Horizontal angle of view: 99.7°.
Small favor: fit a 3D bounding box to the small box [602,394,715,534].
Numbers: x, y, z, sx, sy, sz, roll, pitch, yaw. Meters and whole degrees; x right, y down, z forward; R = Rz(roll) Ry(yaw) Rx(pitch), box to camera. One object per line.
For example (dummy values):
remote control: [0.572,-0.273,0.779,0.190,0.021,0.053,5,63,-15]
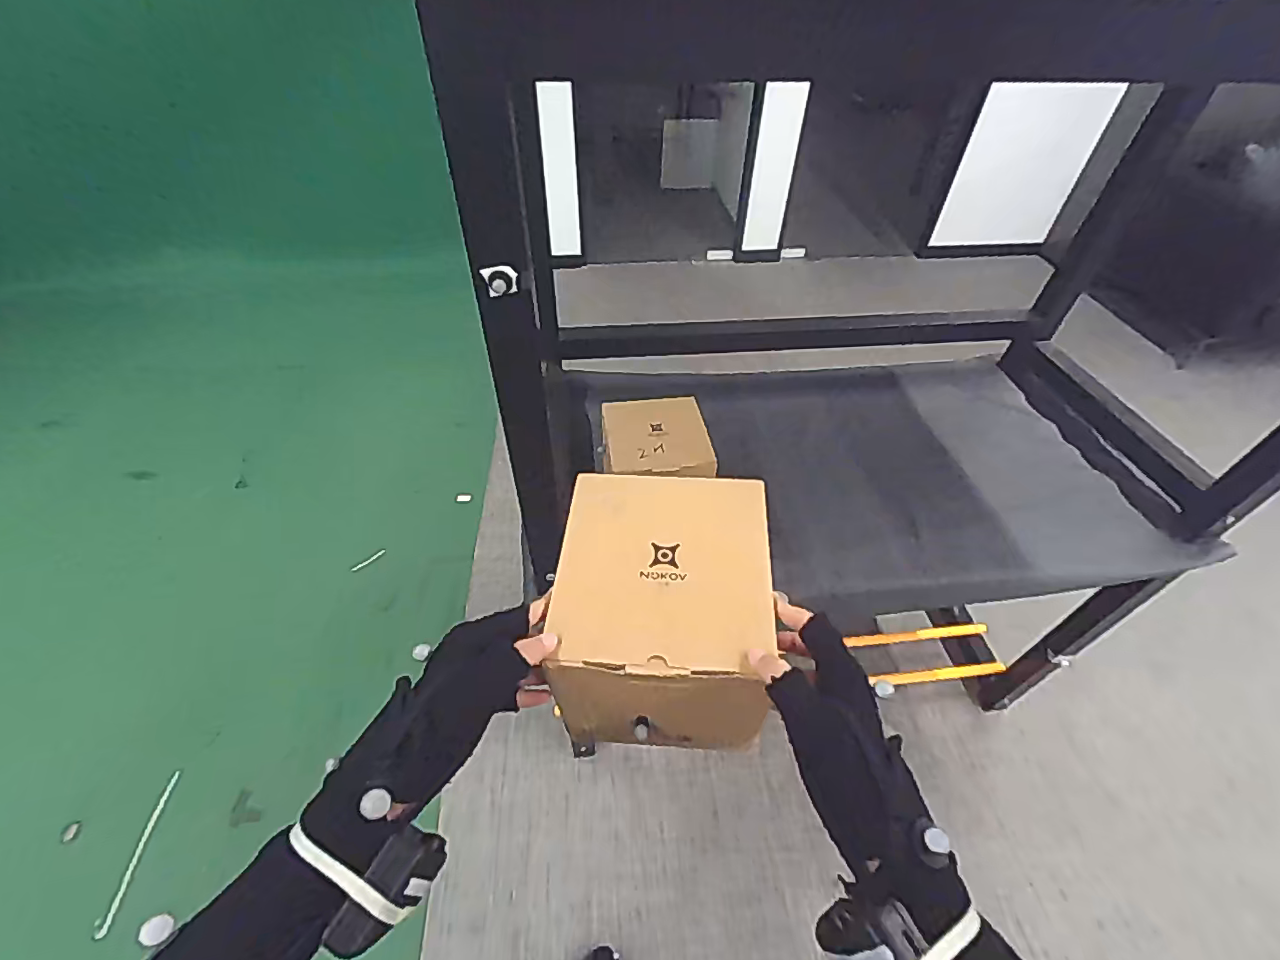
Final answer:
small box: [0.023,-0.028,0.942,0.168,0.176,0.179,-6,46,-6]
